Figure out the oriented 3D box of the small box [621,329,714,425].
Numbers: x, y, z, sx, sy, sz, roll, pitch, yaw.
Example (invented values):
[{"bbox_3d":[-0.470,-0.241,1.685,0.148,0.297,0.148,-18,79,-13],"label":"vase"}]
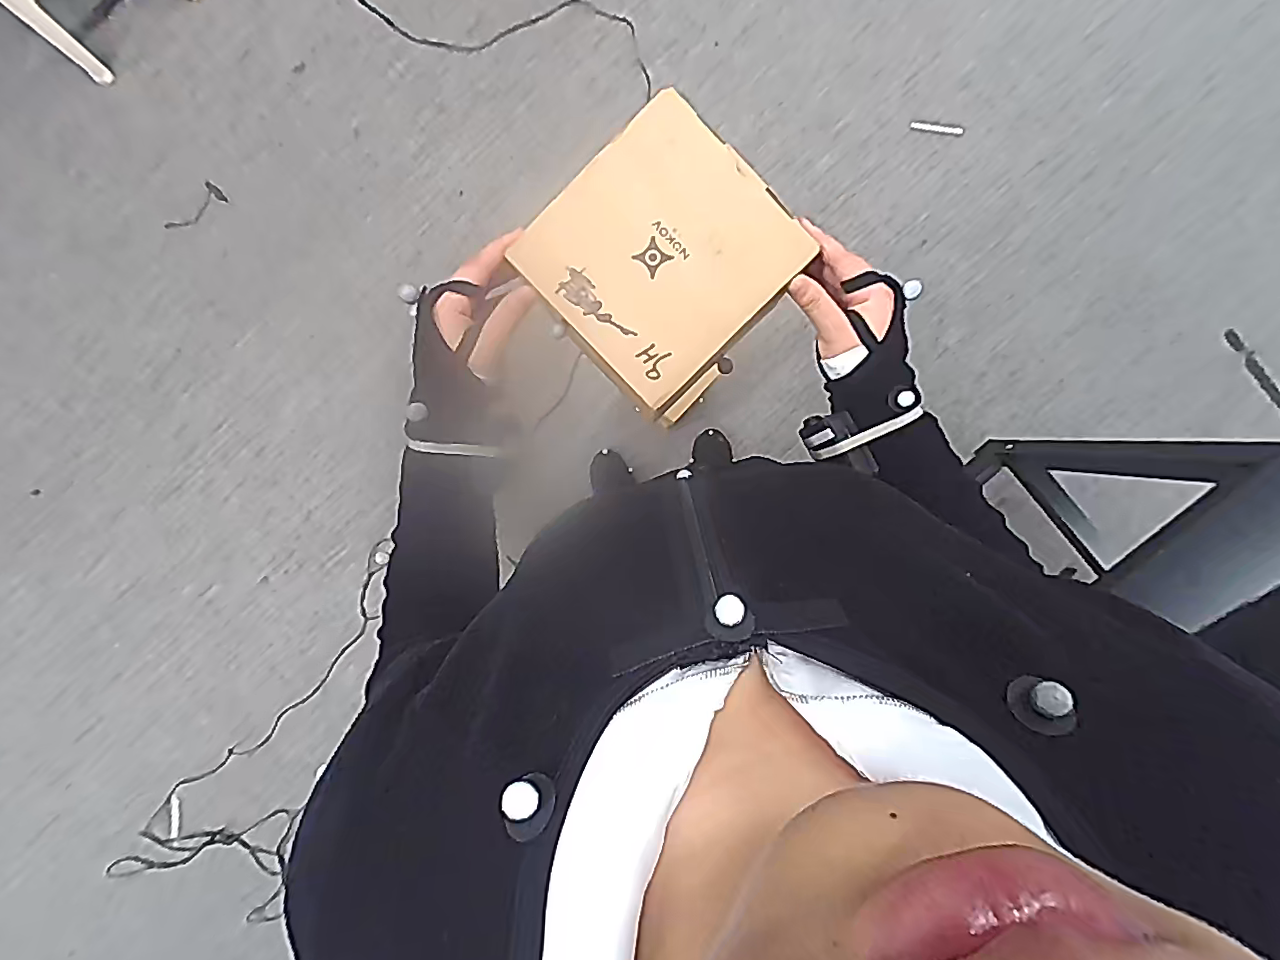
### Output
[{"bbox_3d":[0.066,-0.261,1.405,0.179,0.176,0.168,-45,92,4],"label":"small box"}]
